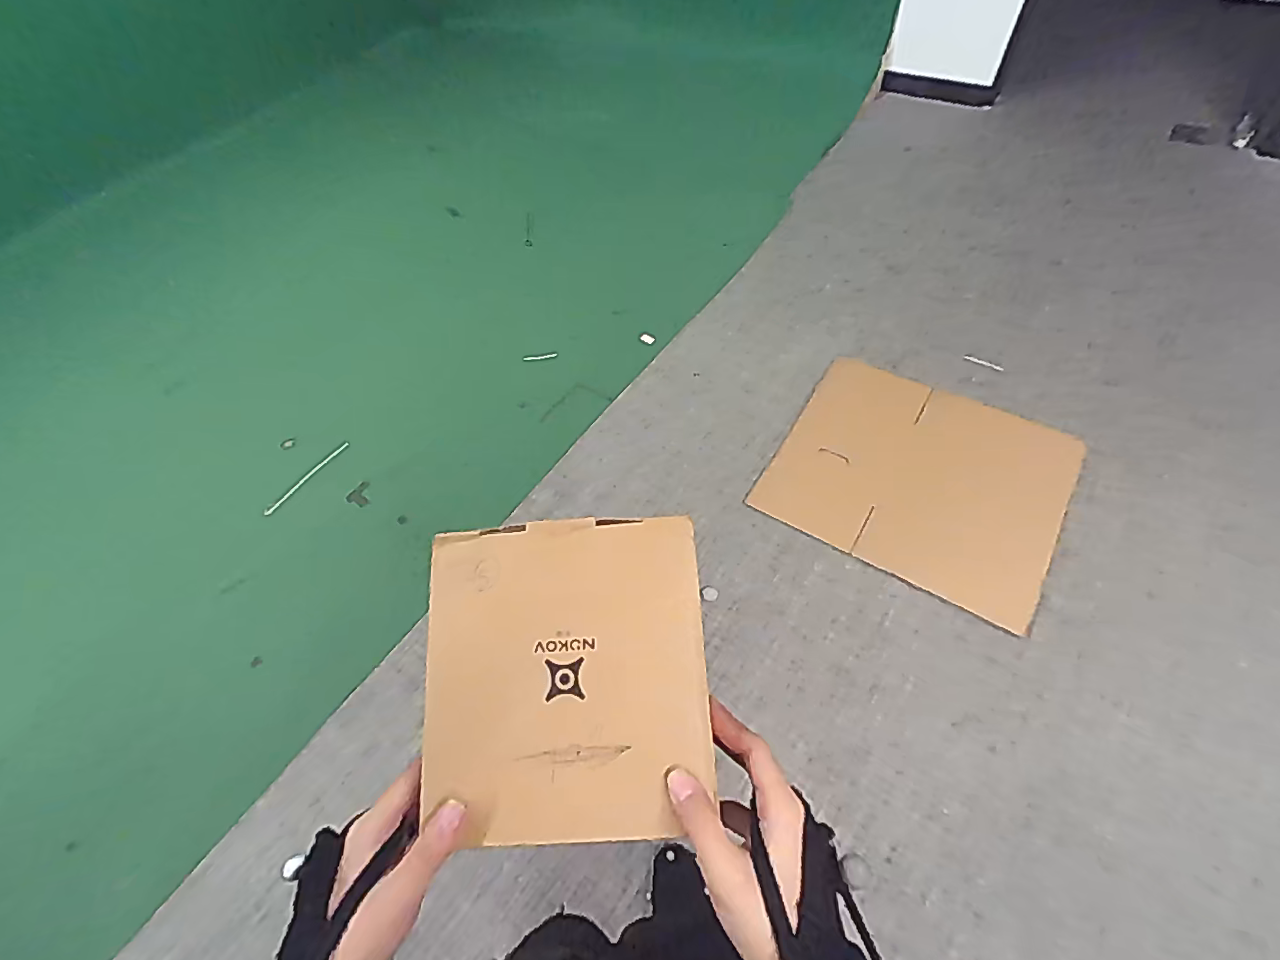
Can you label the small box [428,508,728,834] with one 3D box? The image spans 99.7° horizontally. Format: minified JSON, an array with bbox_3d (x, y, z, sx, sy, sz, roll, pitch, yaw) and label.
[{"bbox_3d":[-0.032,0.126,0.389,0.168,0.176,0.179,-4,74,4],"label":"small box"}]
